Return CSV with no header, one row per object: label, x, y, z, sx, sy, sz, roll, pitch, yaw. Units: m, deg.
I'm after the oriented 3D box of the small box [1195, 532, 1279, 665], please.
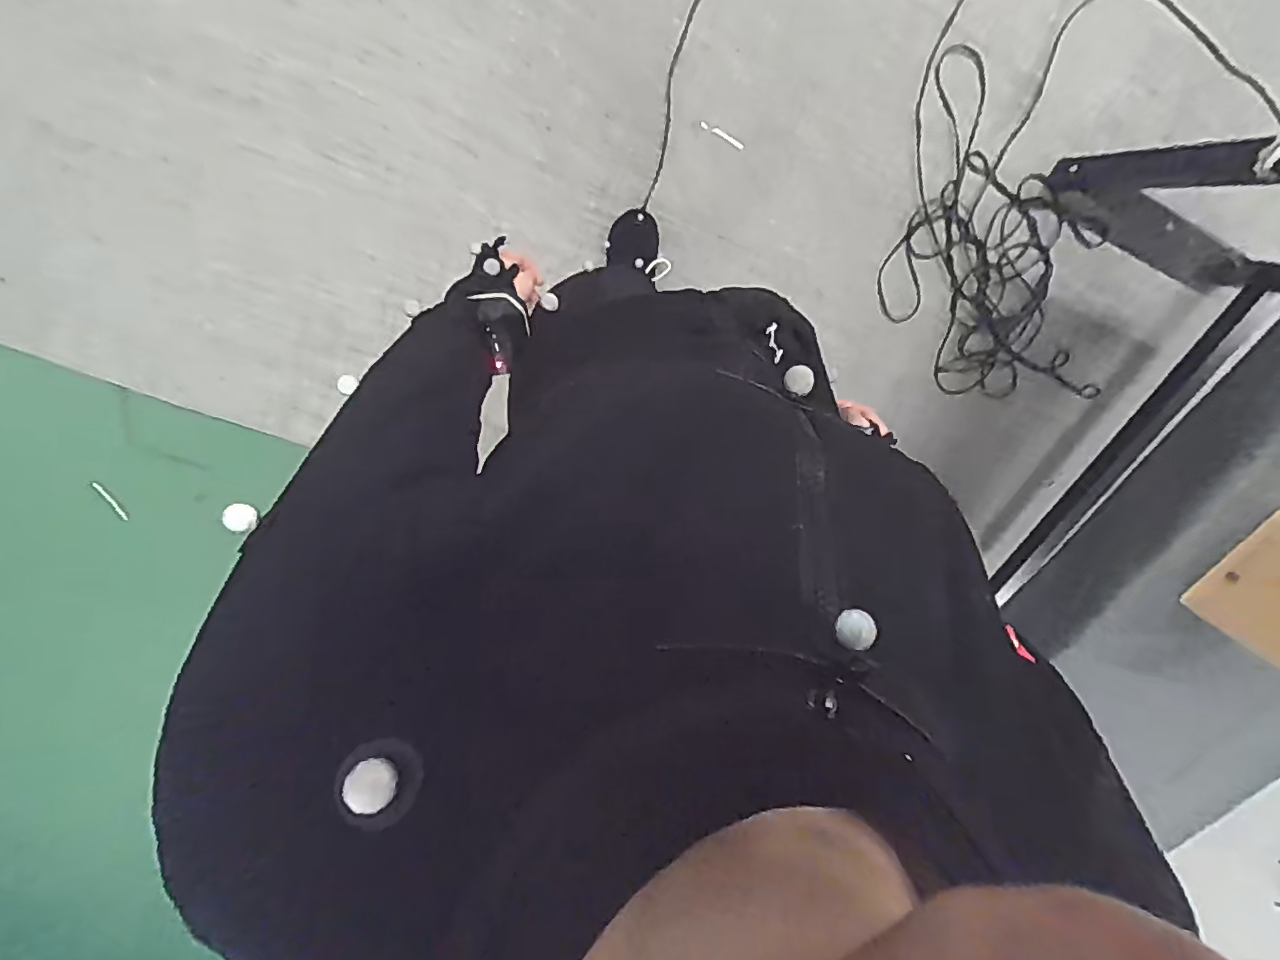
small box,0.877,0.173,0.673,0.179,0.176,0.168,21,114,-15
